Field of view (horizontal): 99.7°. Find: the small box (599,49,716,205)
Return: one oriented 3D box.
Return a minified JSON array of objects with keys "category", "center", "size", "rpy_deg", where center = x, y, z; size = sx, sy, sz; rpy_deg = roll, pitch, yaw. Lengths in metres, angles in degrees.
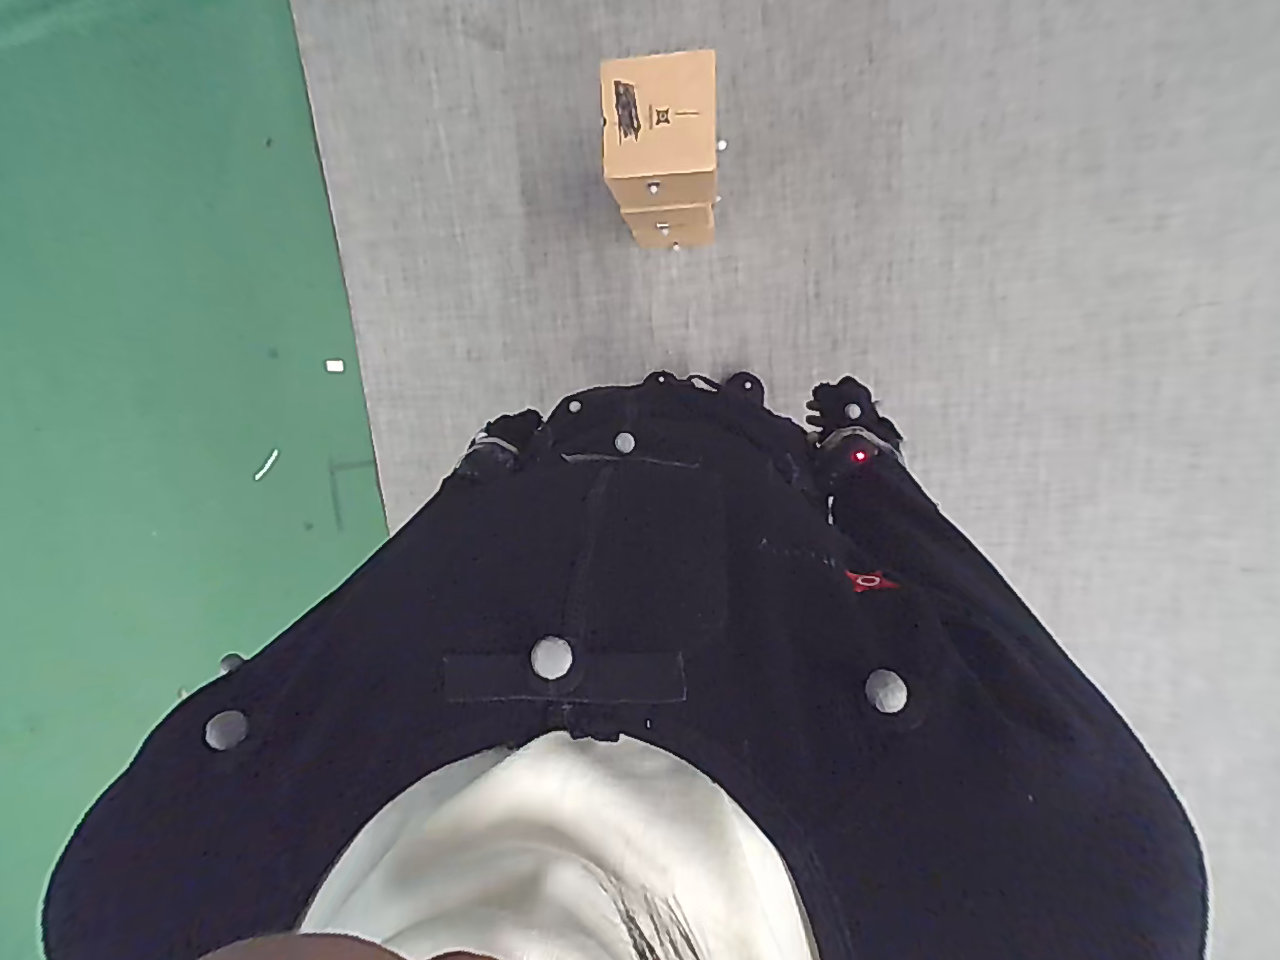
[{"category":"small box","center":[0.037,-0.572,0.901],"size":[0.179,0.176,0.168],"rpy_deg":[0,102,8]}]

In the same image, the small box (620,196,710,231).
[{"category":"small box","center":[0.052,-0.605,1.061],"size":[0.168,0.176,0.179],"rpy_deg":[0,103,10]}]

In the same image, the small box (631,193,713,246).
[{"category":"small box","center":[0.075,-0.633,1.220],"size":[0.179,0.176,0.168],"rpy_deg":[0,102,7]}]
